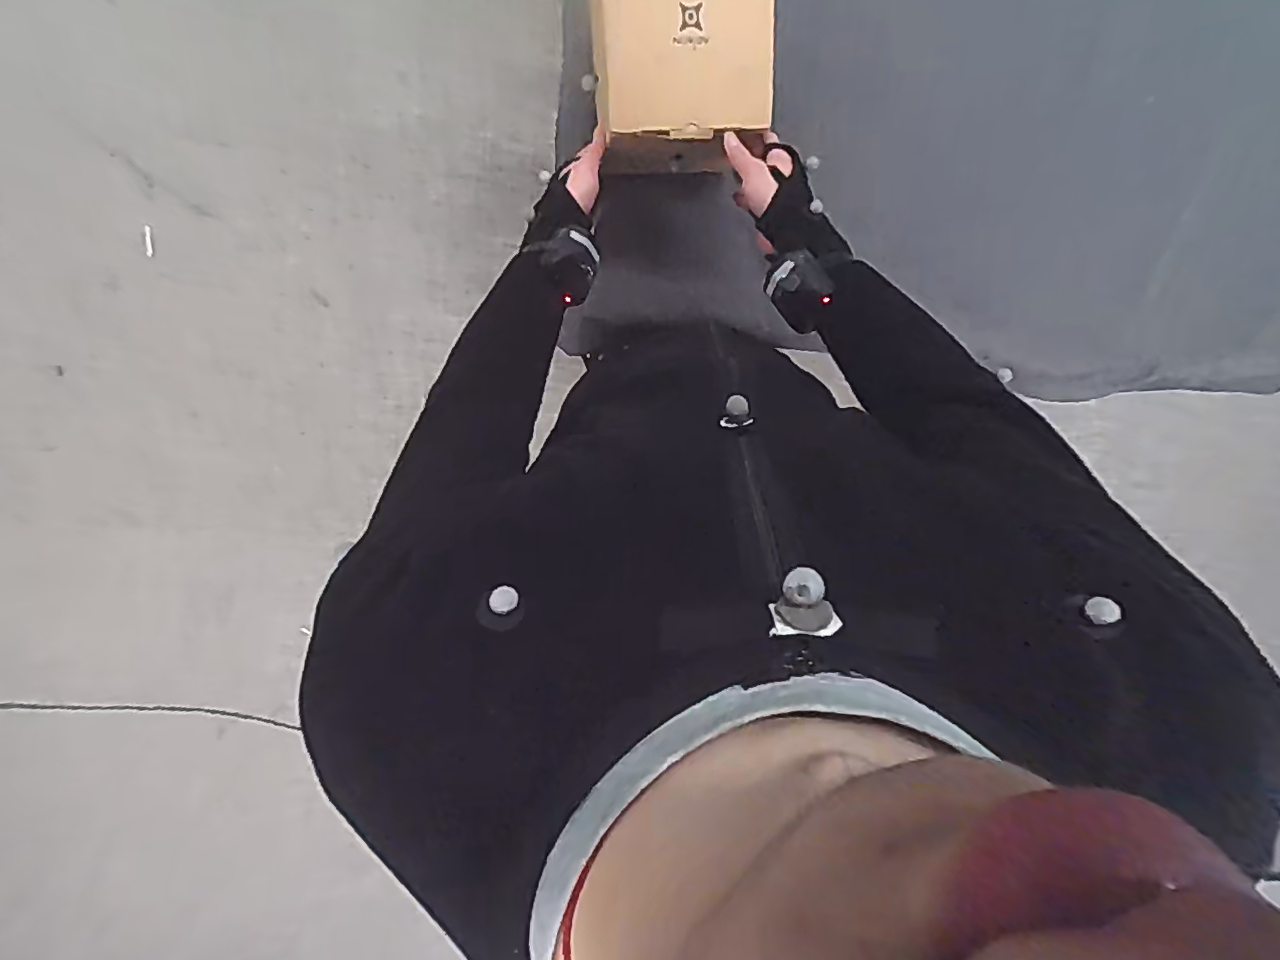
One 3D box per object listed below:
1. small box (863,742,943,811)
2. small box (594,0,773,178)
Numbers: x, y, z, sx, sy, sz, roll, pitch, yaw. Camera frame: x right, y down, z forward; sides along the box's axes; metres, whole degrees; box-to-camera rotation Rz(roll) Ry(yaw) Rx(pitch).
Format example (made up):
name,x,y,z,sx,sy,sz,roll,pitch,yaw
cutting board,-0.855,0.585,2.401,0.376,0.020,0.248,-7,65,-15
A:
name,x,y,z,sx,sy,sz,roll,pitch,yaw
small box,0.972,1.108,2.013,0.179,0.176,0.168,14,104,-11
small box,0.039,-0.447,0.605,0.168,0.176,0.179,-5,109,-7
